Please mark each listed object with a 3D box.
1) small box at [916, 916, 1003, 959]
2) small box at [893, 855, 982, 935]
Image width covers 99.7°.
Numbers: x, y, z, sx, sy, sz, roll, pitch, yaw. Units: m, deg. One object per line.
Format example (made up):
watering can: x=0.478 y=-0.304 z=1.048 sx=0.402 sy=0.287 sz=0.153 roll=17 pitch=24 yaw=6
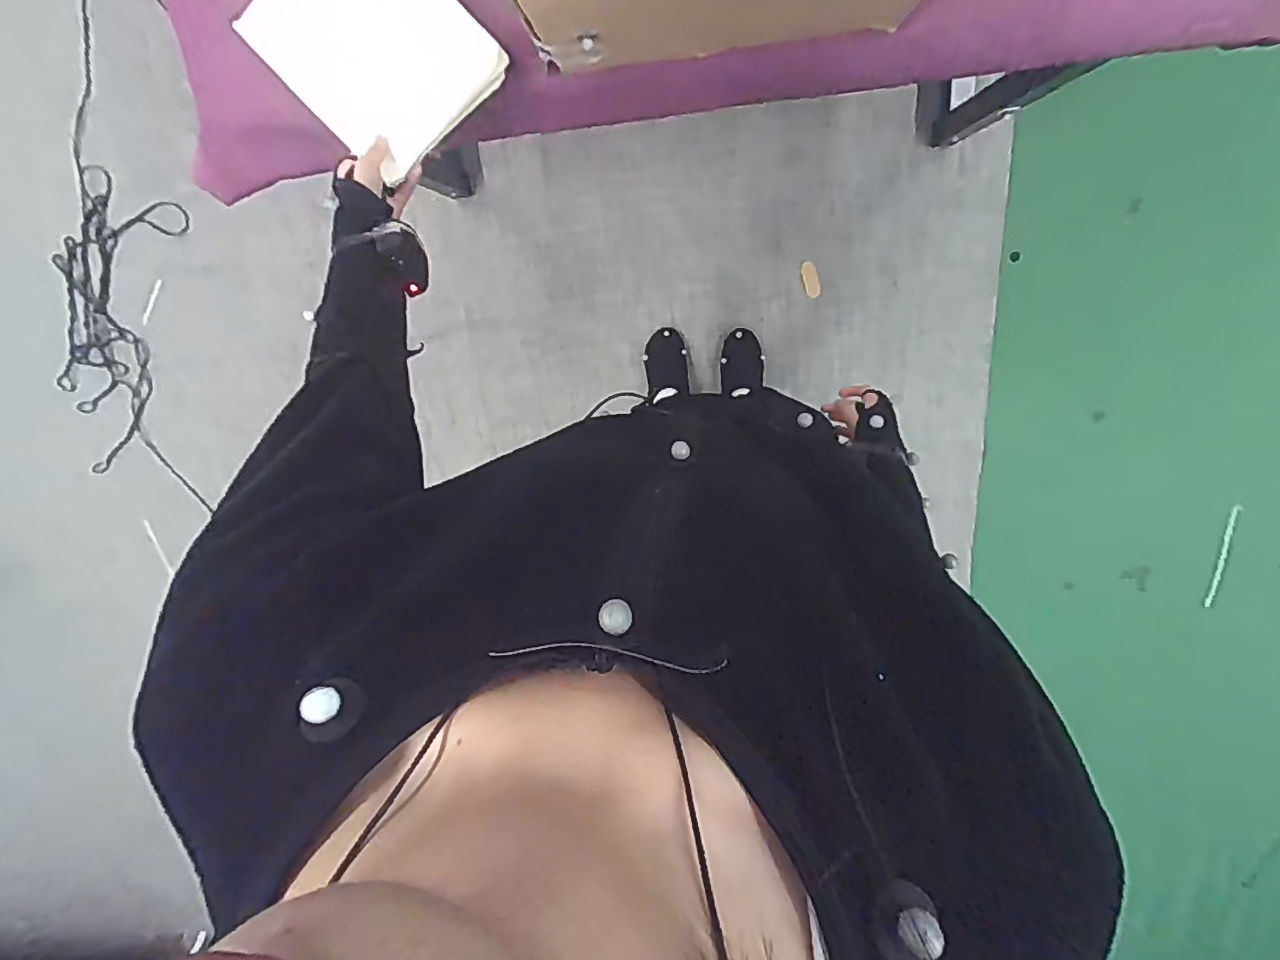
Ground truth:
small box: x=0.790 y=1.204 z=1.304 sx=0.179 sy=0.176 sz=0.168 roll=-19 pitch=106 yaw=10
small box: x=0.806 y=1.148 z=1.457 sx=0.168 sy=0.176 sz=0.179 roll=-17 pitch=106 yaw=10
